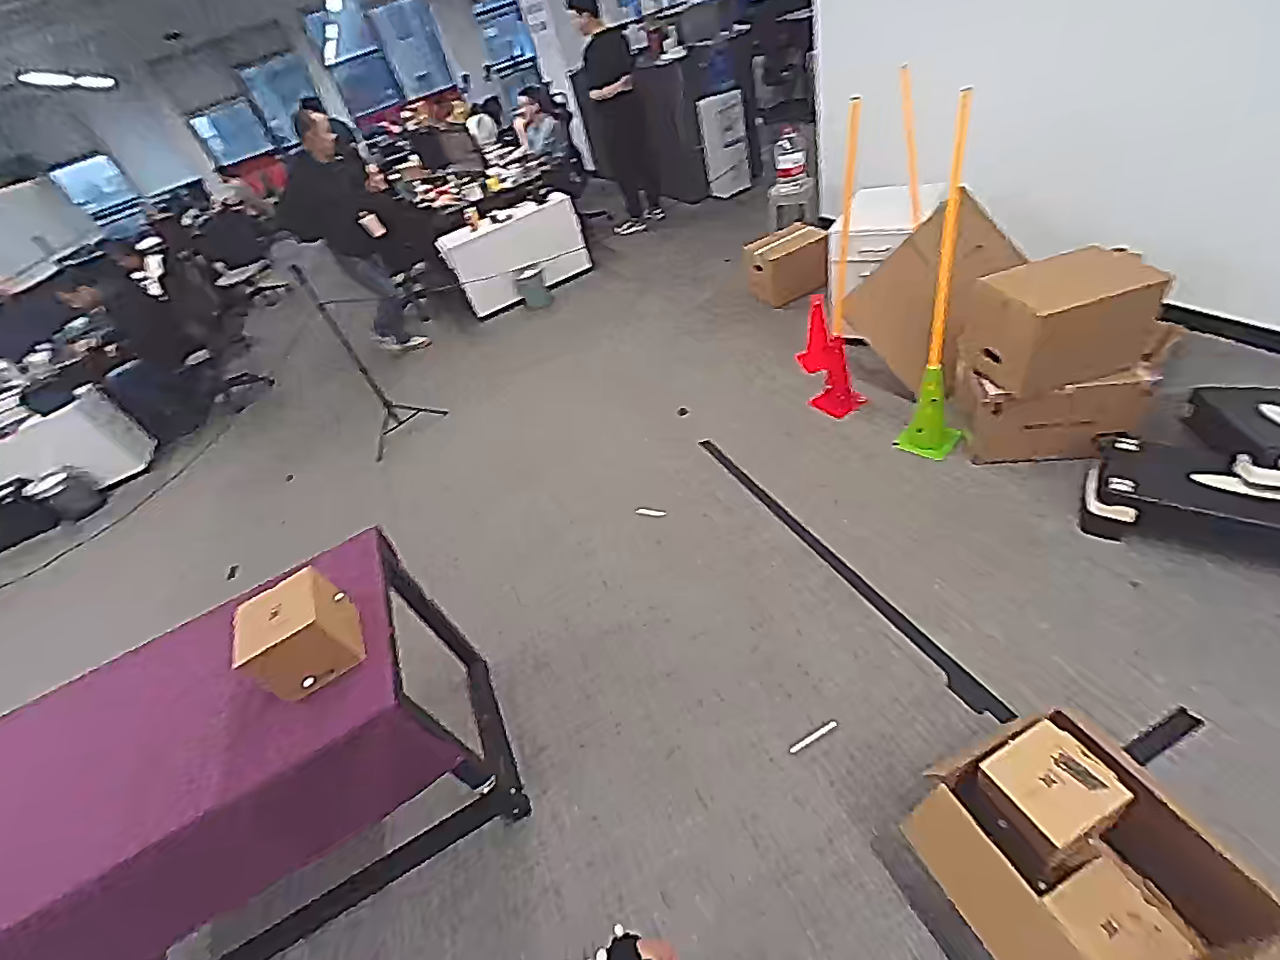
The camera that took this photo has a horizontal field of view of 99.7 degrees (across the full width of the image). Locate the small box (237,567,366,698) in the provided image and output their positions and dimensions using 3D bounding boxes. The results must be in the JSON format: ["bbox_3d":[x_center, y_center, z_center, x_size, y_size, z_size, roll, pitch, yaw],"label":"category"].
[{"bbox_3d":[-0.722,0.329,1.167,0.168,0.176,0.179,-31,42,-11],"label":"small box"}]
